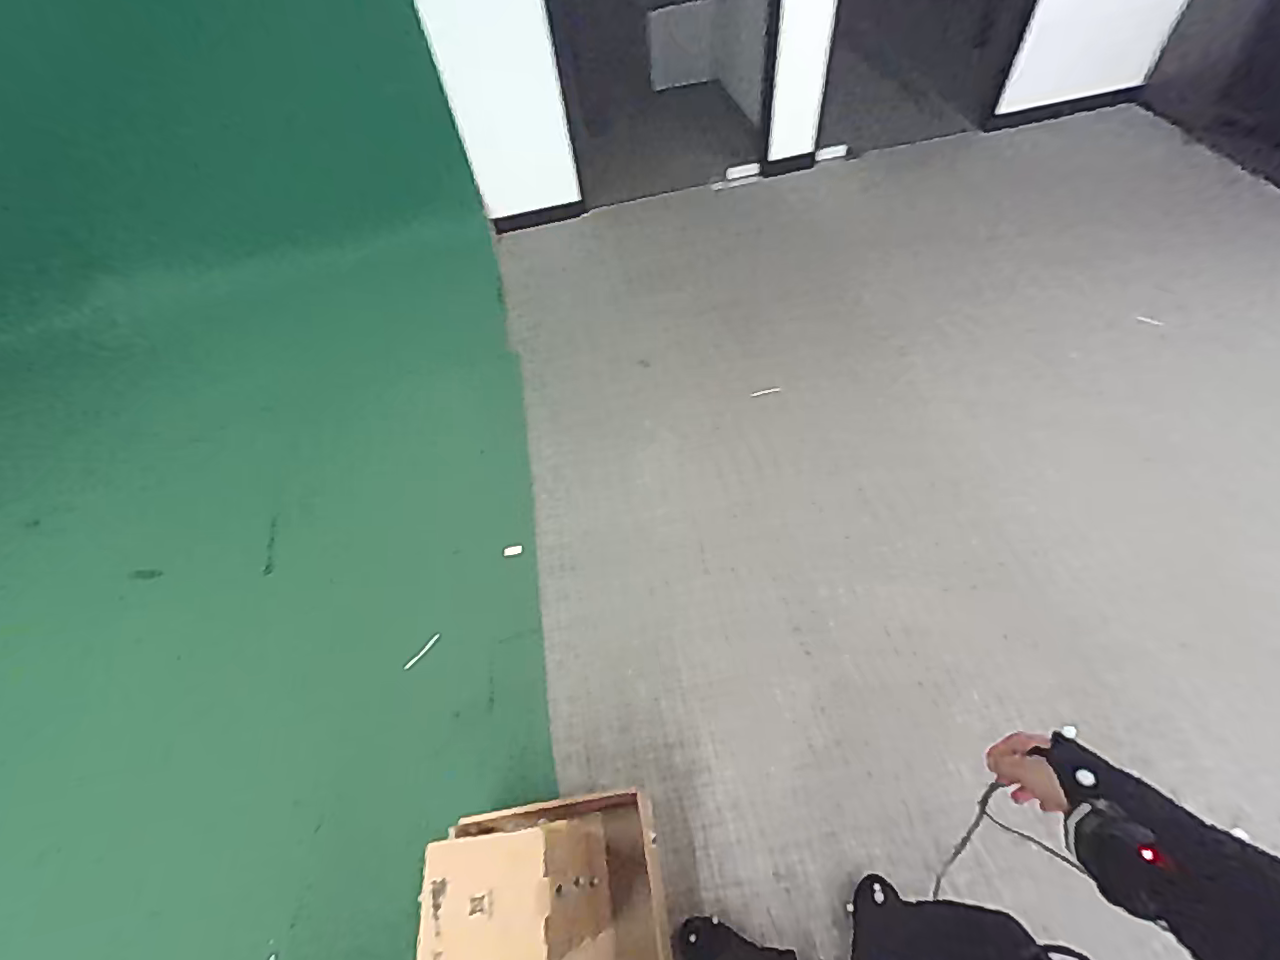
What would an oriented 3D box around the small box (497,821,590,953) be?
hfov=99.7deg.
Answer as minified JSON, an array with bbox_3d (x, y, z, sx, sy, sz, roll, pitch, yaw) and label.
[{"bbox_3d":[-0.187,0.716,0.947,0.168,0.176,0.179,-11,55,-4],"label":"small box"}]

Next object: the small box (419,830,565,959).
[{"bbox_3d":[-0.209,0.629,0.809,0.179,0.176,0.168,-7,56,-1],"label":"small box"}]
